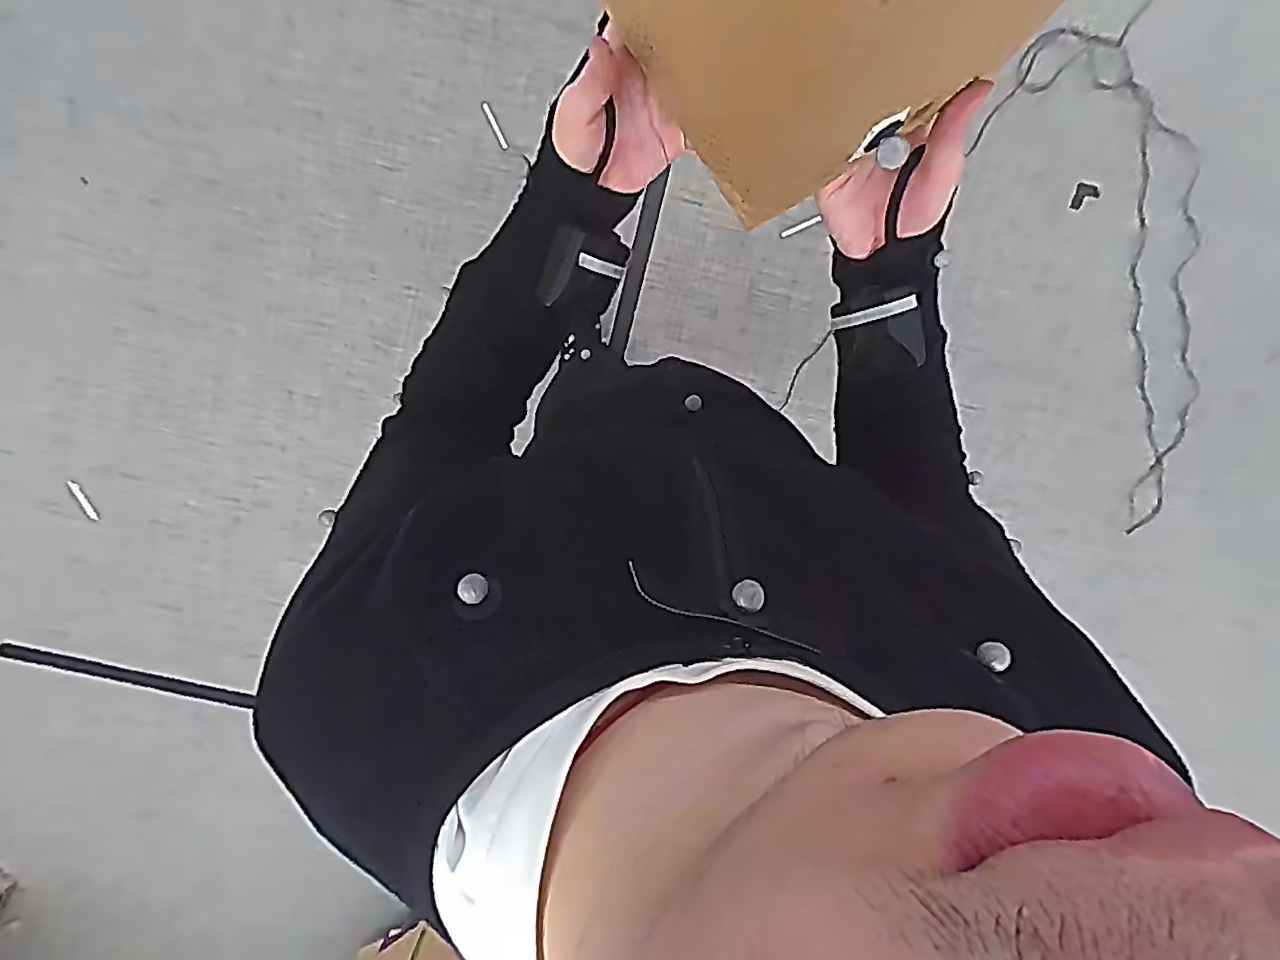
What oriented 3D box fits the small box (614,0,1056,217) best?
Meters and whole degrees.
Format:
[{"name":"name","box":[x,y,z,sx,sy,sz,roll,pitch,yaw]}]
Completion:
[{"name":"small box","box":[0.088,-0.258,0.232,0.168,0.176,0.179,-34,94,1]}]
